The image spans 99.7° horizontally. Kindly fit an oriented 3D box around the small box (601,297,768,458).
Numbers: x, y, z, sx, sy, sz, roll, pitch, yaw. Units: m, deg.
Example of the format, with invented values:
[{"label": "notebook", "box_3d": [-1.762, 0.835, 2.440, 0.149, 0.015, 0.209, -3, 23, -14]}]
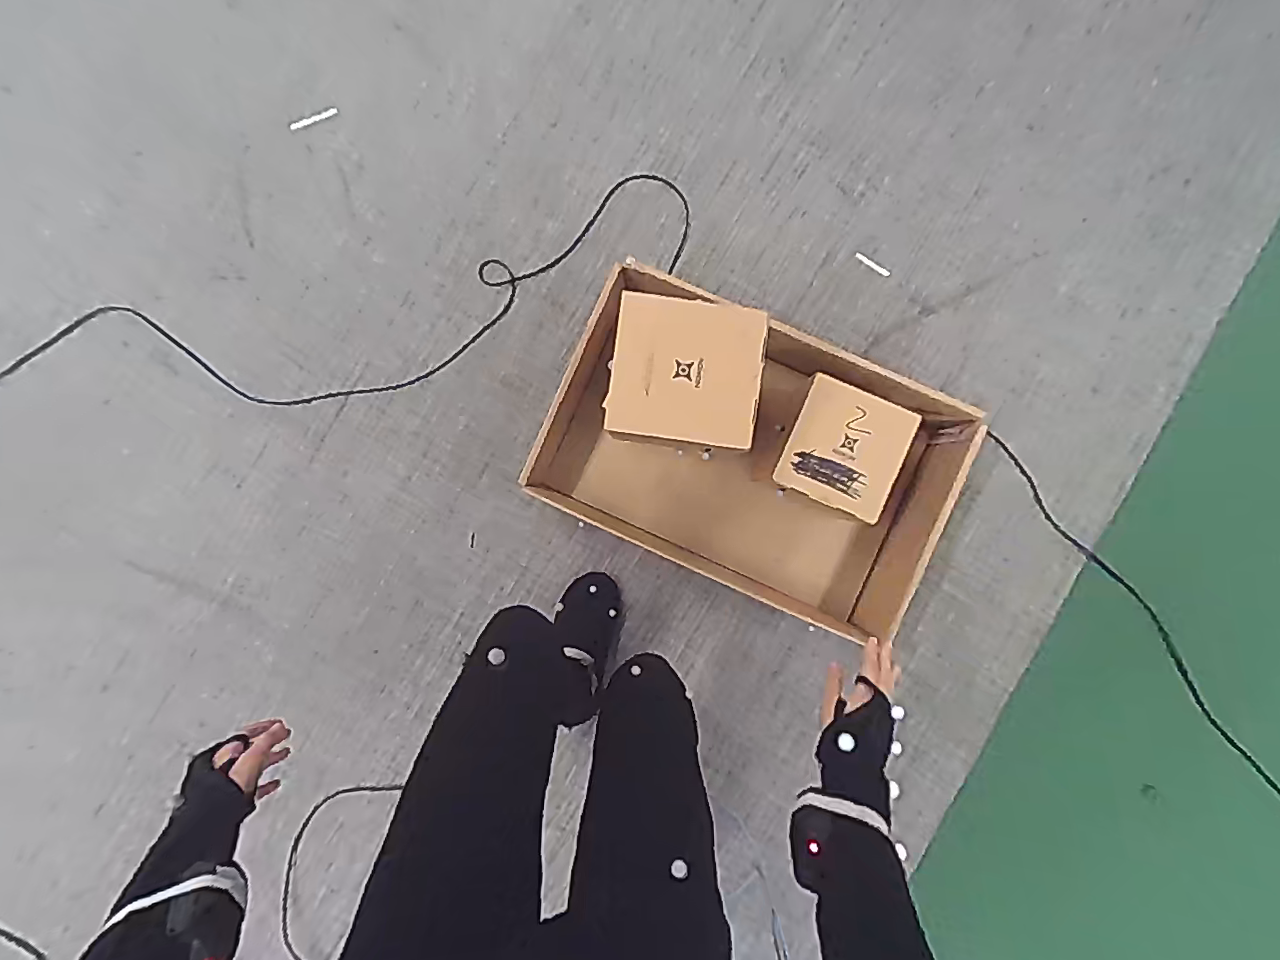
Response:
[{"label": "small box", "box_3d": [0.053, -0.122, 0.711, 0.179, 0.176, 0.168, 9, 90, 1]}]
